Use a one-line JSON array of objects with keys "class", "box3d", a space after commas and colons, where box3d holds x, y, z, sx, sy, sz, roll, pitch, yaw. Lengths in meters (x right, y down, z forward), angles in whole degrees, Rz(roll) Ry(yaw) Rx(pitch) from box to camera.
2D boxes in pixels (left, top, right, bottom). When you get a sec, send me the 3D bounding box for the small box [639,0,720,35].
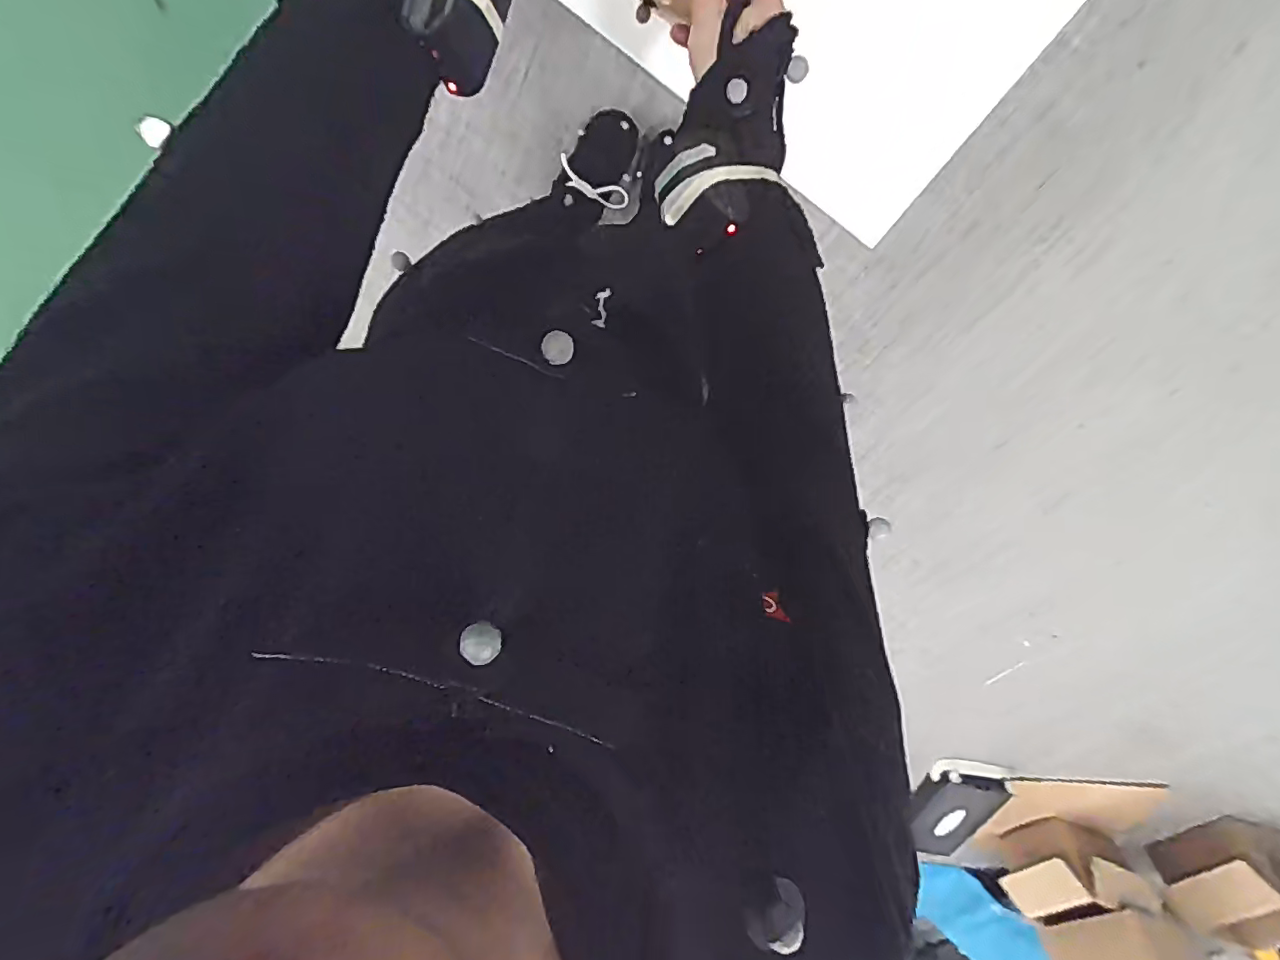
[{"class": "small box", "box3d": [0.020, -0.459, 0.380, 0.168, 0.176, 0.179, 27, 123, -14]}]
